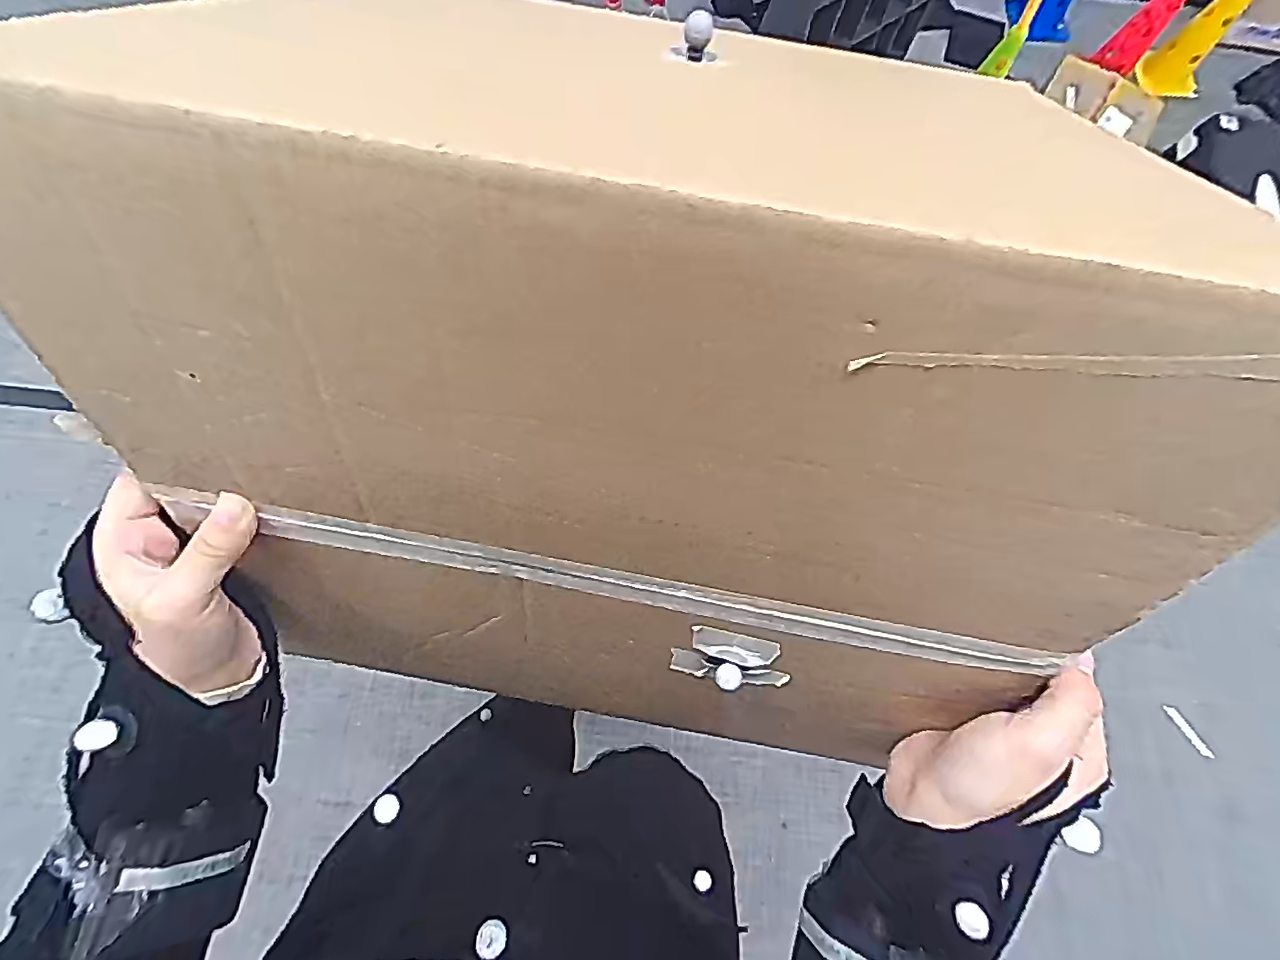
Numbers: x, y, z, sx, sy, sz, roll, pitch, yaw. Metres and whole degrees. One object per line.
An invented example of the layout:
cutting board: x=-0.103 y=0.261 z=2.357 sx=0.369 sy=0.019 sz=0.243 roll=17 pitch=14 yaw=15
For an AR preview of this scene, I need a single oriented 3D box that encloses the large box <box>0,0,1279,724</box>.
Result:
large box: x=0.017 y=-0.091 z=0.338 sx=0.408 sy=0.320 sz=0.320 roll=10 pitch=46 yaw=1
